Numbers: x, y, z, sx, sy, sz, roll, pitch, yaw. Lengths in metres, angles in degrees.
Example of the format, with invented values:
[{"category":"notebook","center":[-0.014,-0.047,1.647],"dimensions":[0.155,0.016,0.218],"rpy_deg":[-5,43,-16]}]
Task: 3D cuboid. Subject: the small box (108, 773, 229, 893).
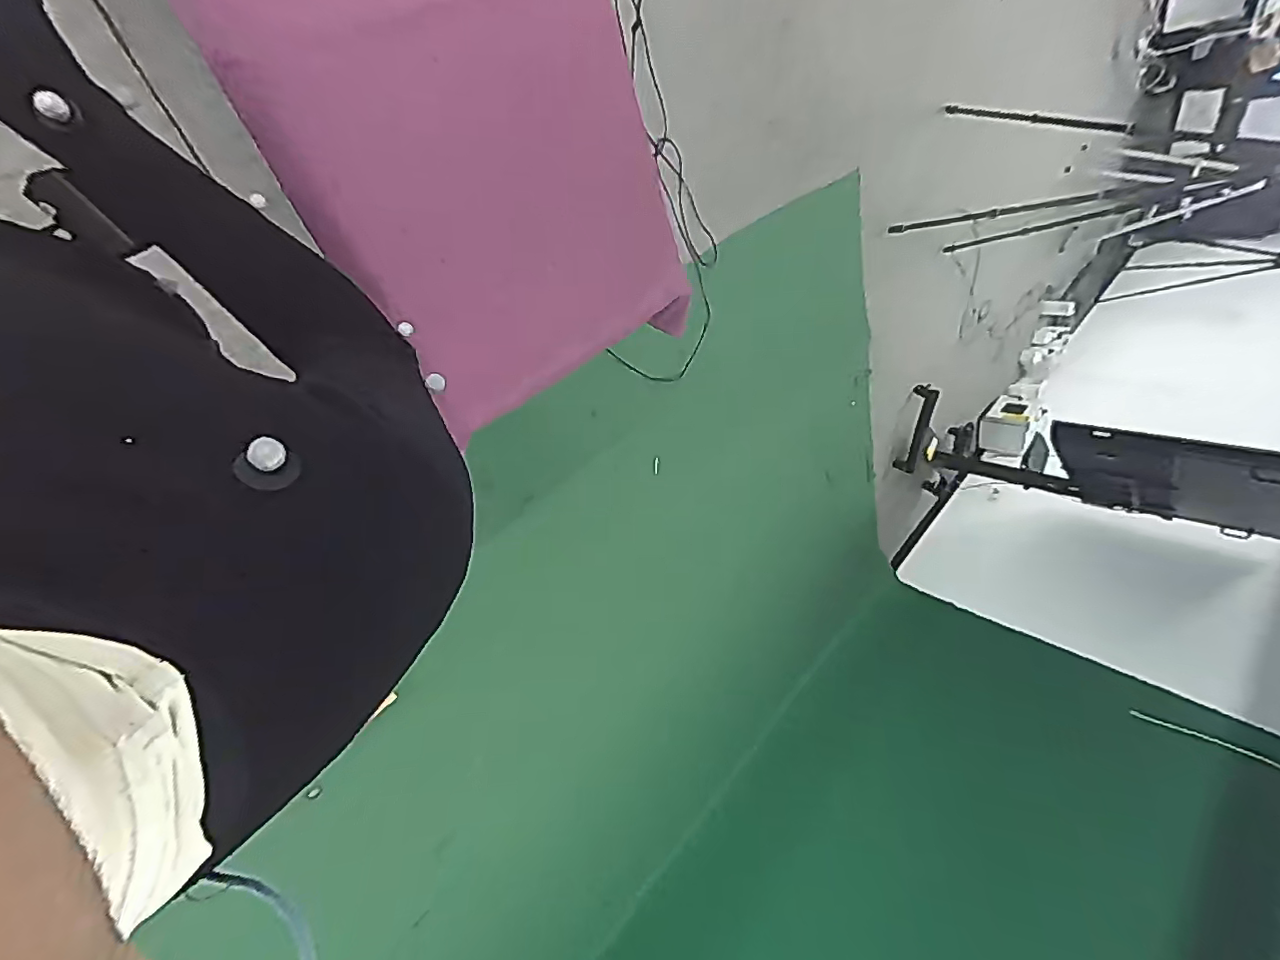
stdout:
[{"category":"small box","center":[-1.212,0.902,1.396],"dimensions":[0.168,0.176,0.179],"rpy_deg":[-39,128,-27]}]
